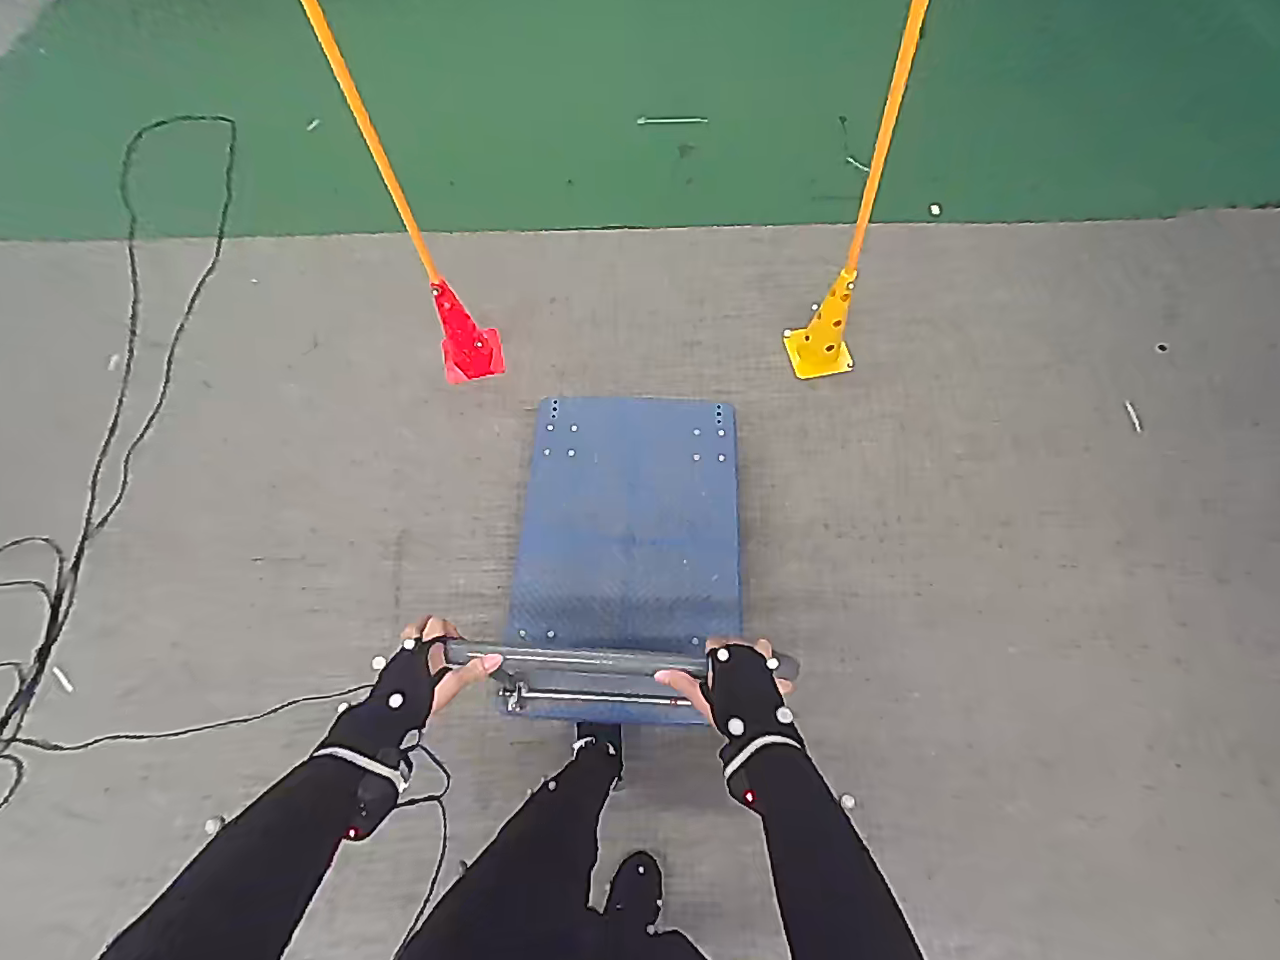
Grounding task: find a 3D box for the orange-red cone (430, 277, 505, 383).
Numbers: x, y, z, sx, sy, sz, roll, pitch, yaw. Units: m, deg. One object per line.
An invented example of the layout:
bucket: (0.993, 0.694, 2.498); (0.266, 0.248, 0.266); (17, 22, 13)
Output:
orange-red cone: (-0.583, -0.500, 1.722); (0.199, 0.360, 0.198); (-14, 65, -3)
